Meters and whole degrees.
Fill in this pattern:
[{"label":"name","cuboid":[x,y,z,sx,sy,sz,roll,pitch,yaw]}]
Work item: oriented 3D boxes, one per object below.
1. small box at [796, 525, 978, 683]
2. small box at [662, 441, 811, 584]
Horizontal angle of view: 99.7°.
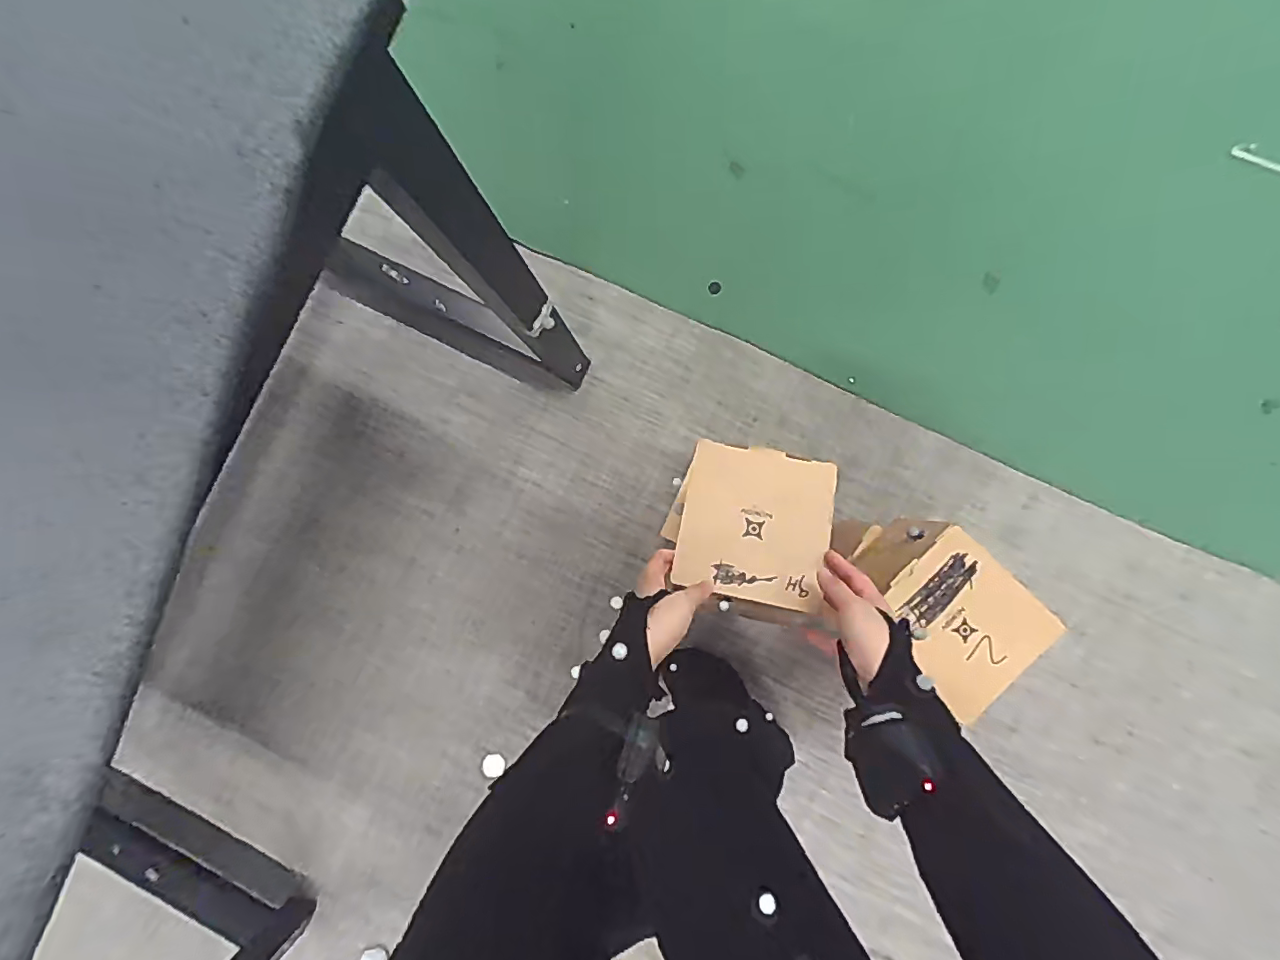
[{"label":"small box","cuboid":[0.380,0.184,0.868,0.179,0.176,0.168,35,91,4]},{"label":"small box","cuboid":[0.153,0.050,0.892,0.179,0.176,0.168,25,90,6]}]
